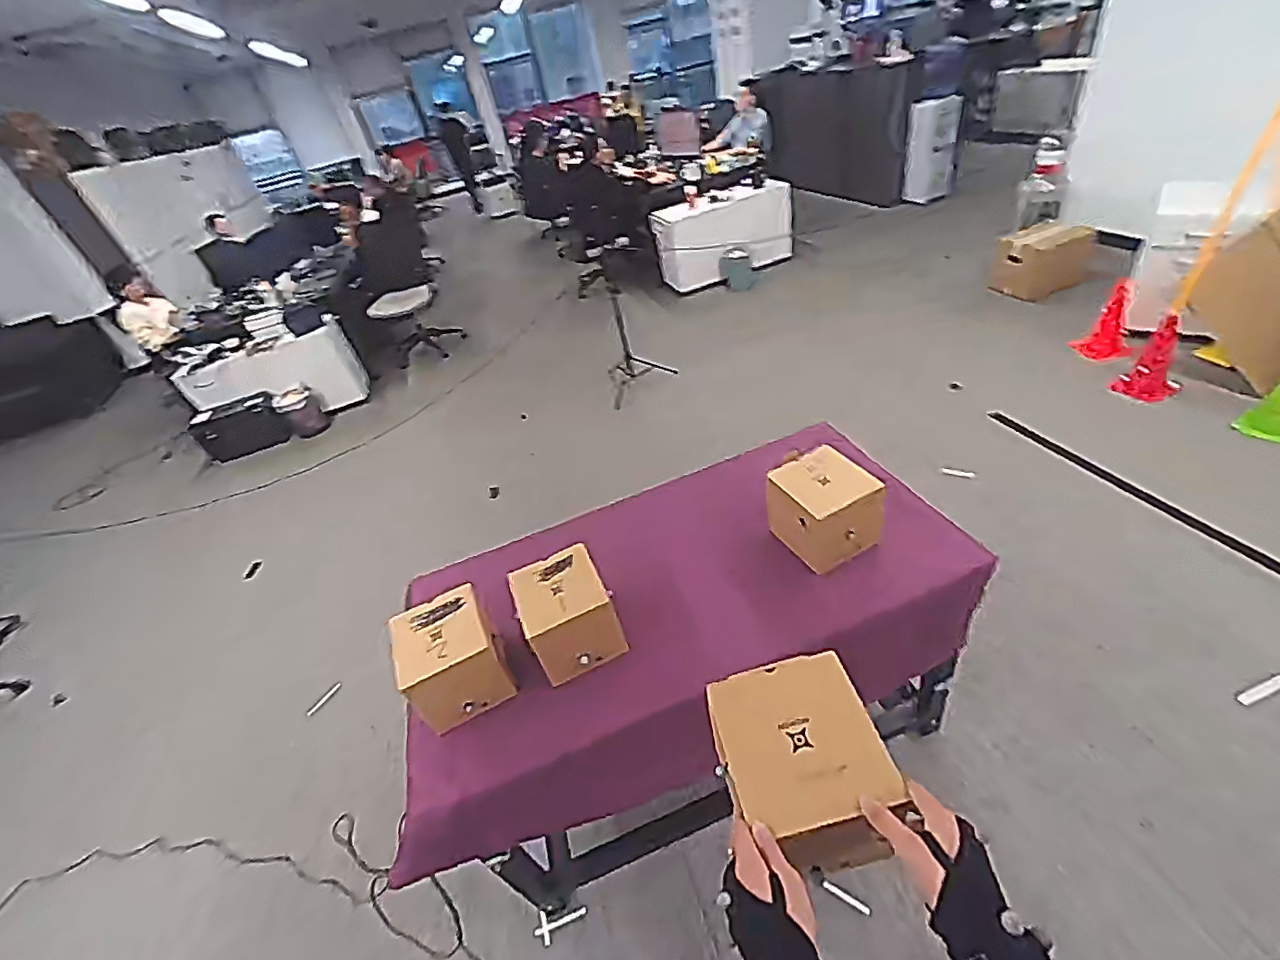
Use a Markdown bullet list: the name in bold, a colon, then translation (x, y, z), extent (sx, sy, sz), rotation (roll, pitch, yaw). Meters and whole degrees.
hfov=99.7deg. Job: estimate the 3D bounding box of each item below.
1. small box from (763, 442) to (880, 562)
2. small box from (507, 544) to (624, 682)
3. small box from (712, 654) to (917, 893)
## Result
- **small box**: translation (0.388, 0.054, 1.163), extent (0.168, 0.176, 0.179), rotation (-26, 39, -12)
- **small box**: translation (-0.148, 0.267, 1.087), extent (0.168, 0.176, 0.179), rotation (-24, 40, -10)
- **small box**: translation (0.190, 0.340, 0.633), extent (0.168, 0.176, 0.179), rotation (-14, 38, -1)
